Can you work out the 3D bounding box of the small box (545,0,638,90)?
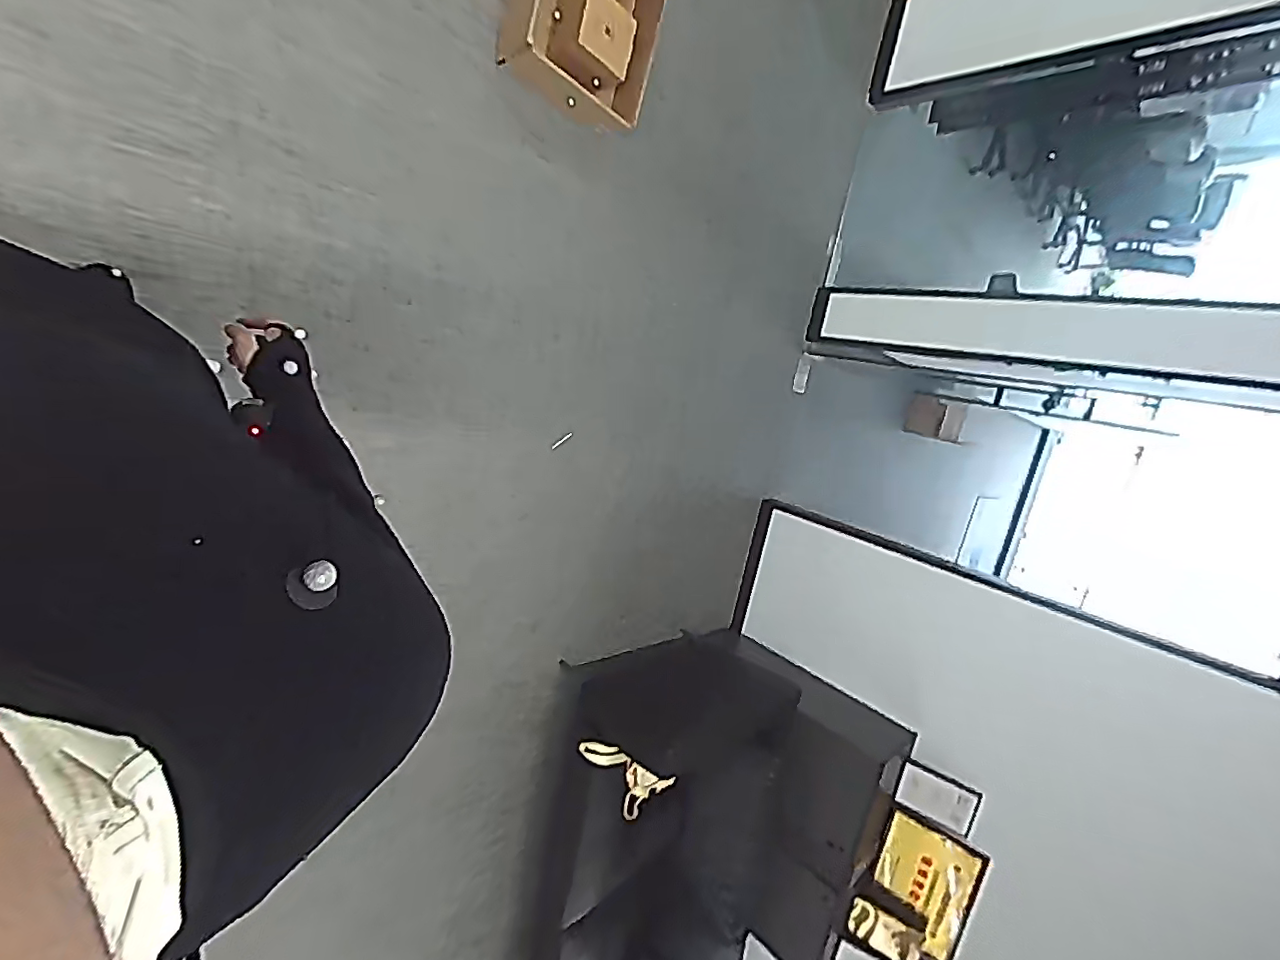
[{"bbox_3d":[-0.140,-1.254,1.543,0.179,0.176,0.168,8,99,-45],"label":"small box"}]
